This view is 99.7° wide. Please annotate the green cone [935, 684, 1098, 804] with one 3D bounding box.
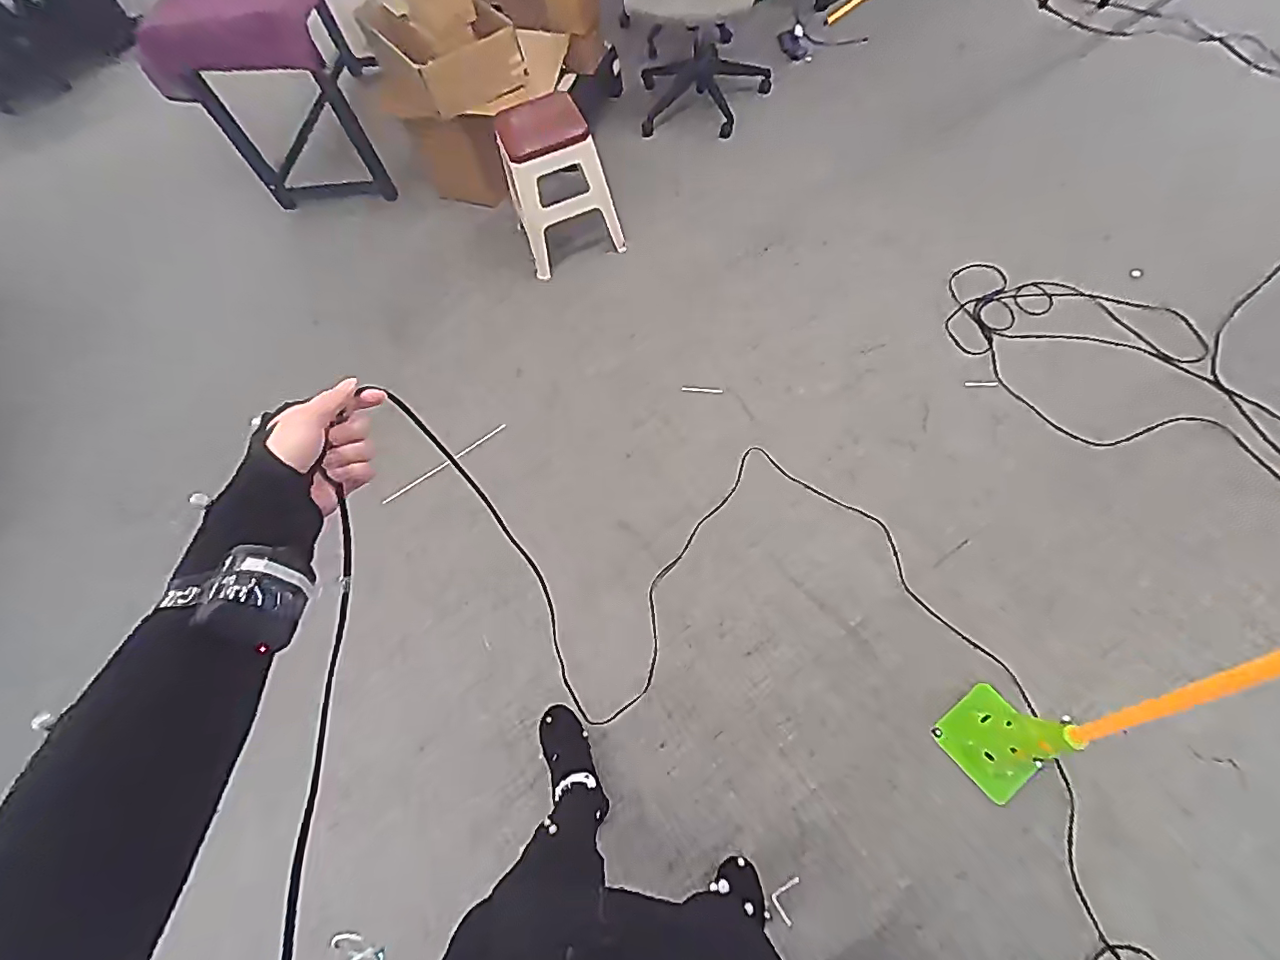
[{"bbox_3d":[0.818,0.541,1.125,0.202,0.368,0.200,-36,65,-12],"label":"green cone"}]
